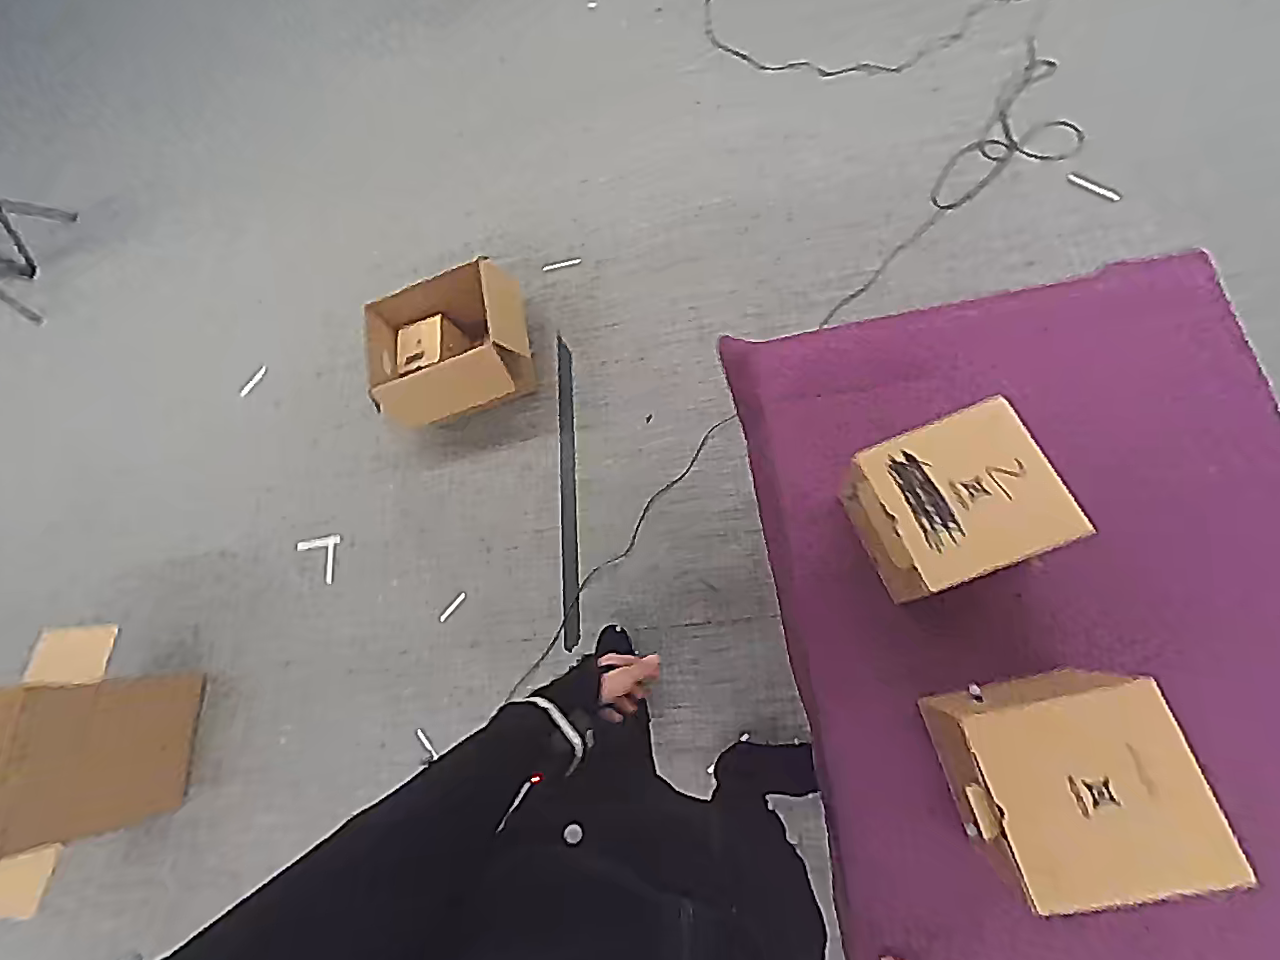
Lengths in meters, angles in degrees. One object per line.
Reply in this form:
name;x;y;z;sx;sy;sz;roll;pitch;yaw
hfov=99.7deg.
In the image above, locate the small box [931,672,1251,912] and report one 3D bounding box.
small box;0.426;0.304;0.559;0.179;0.176;0.168;-16;72;9
